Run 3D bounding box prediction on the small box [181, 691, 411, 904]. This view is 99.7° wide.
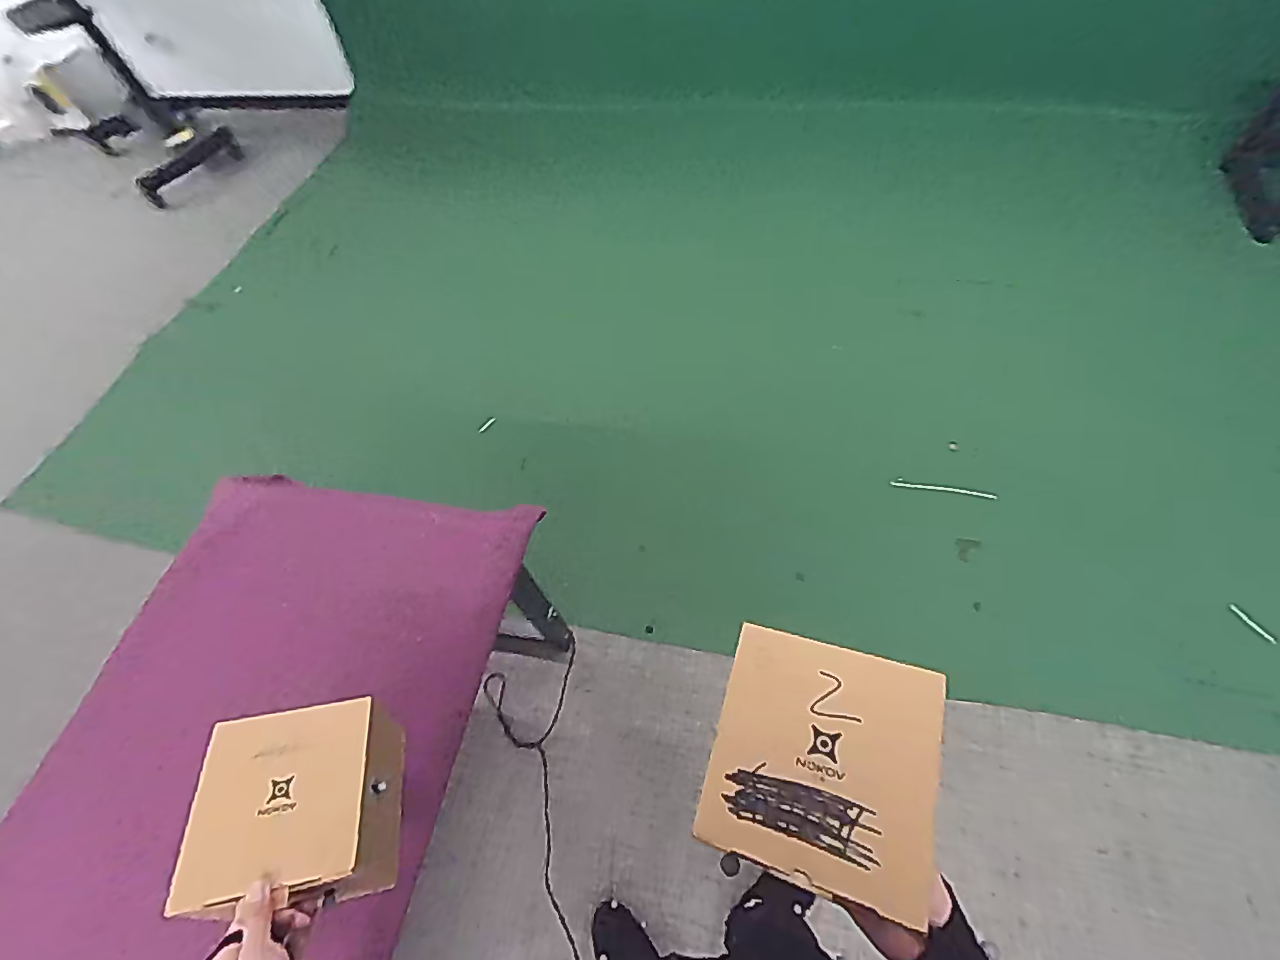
[{"bbox_3d":[-0.377,0.374,0.636,0.168,0.176,0.179,-5,51,-11],"label":"small box"}]
